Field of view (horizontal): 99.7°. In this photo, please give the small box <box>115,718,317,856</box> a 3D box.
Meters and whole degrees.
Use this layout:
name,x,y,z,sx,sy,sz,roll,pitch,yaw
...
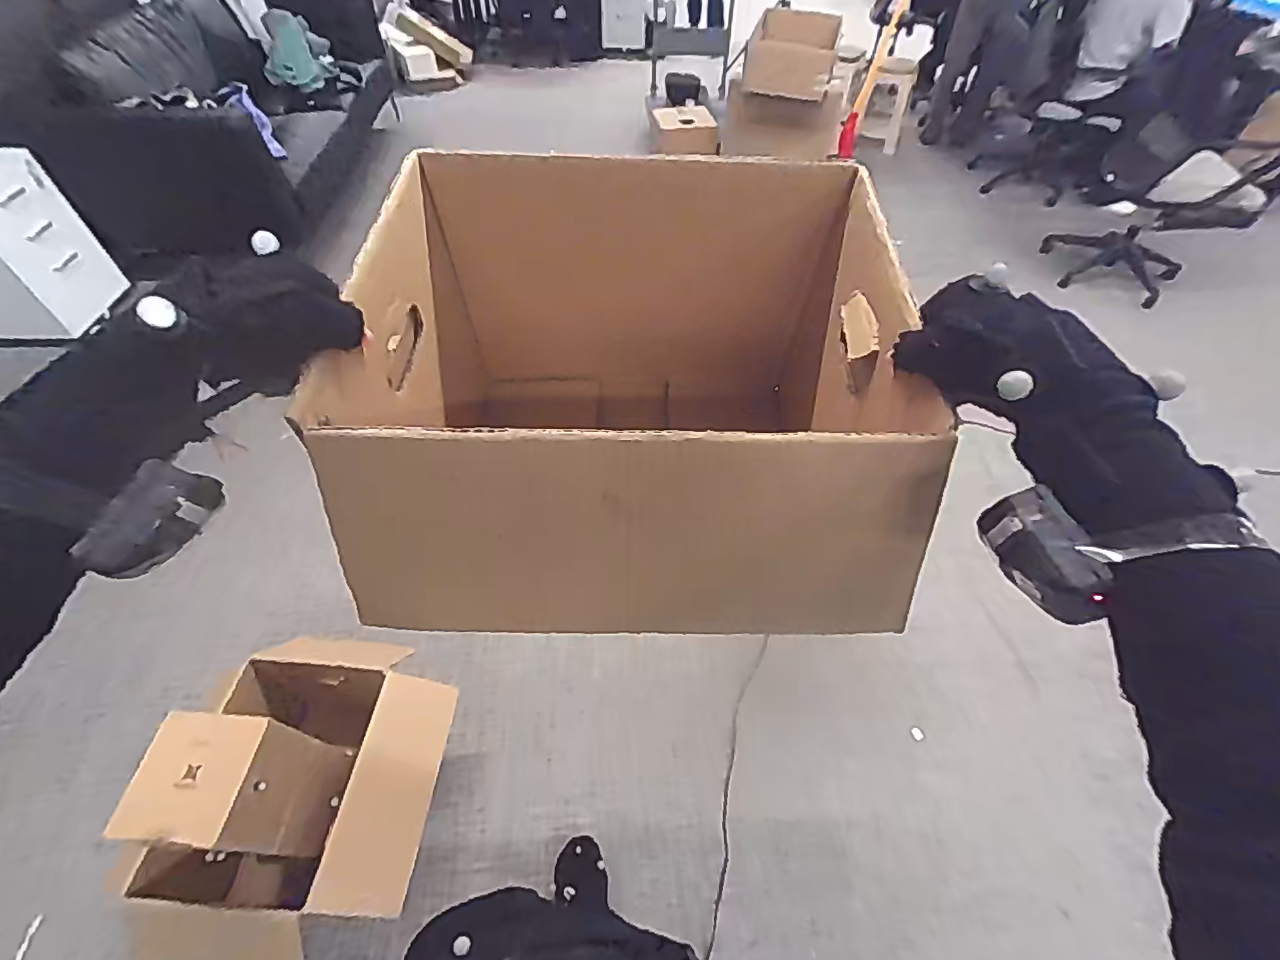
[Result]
name,x,y,z,sx,sy,sz,roll,pitch,yaw
small box,-0.667,0.504,0.882,0.168,0.176,0.179,3,53,0
